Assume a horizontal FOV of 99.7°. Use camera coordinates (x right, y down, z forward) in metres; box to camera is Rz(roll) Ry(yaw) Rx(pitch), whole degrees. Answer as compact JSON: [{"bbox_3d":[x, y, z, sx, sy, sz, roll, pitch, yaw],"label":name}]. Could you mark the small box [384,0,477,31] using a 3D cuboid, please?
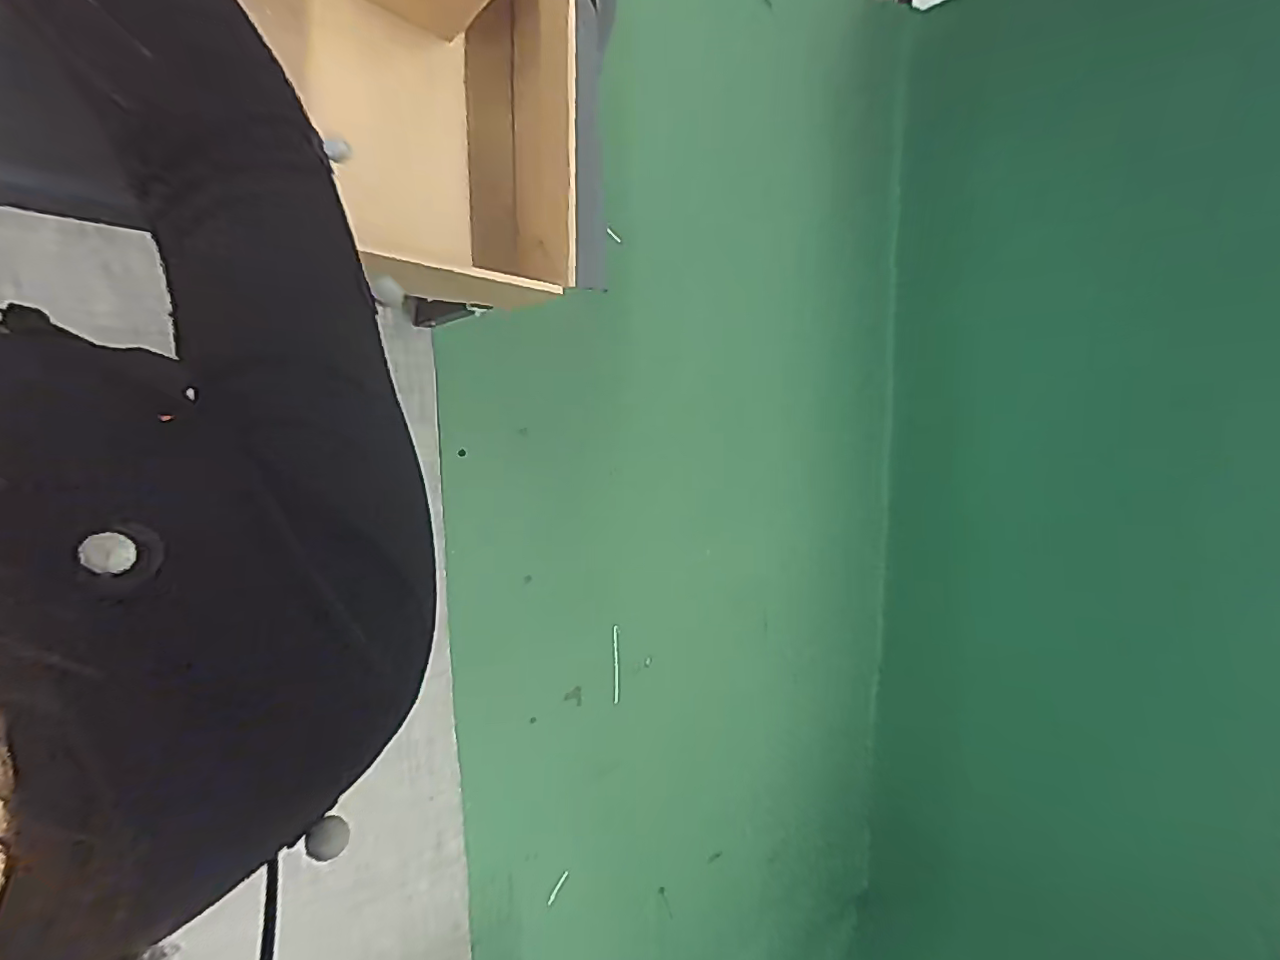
[{"bbox_3d":[-0.262,-0.667,0.611,0.179,0.176,0.168,-3,98,-42],"label":"small box"}]
